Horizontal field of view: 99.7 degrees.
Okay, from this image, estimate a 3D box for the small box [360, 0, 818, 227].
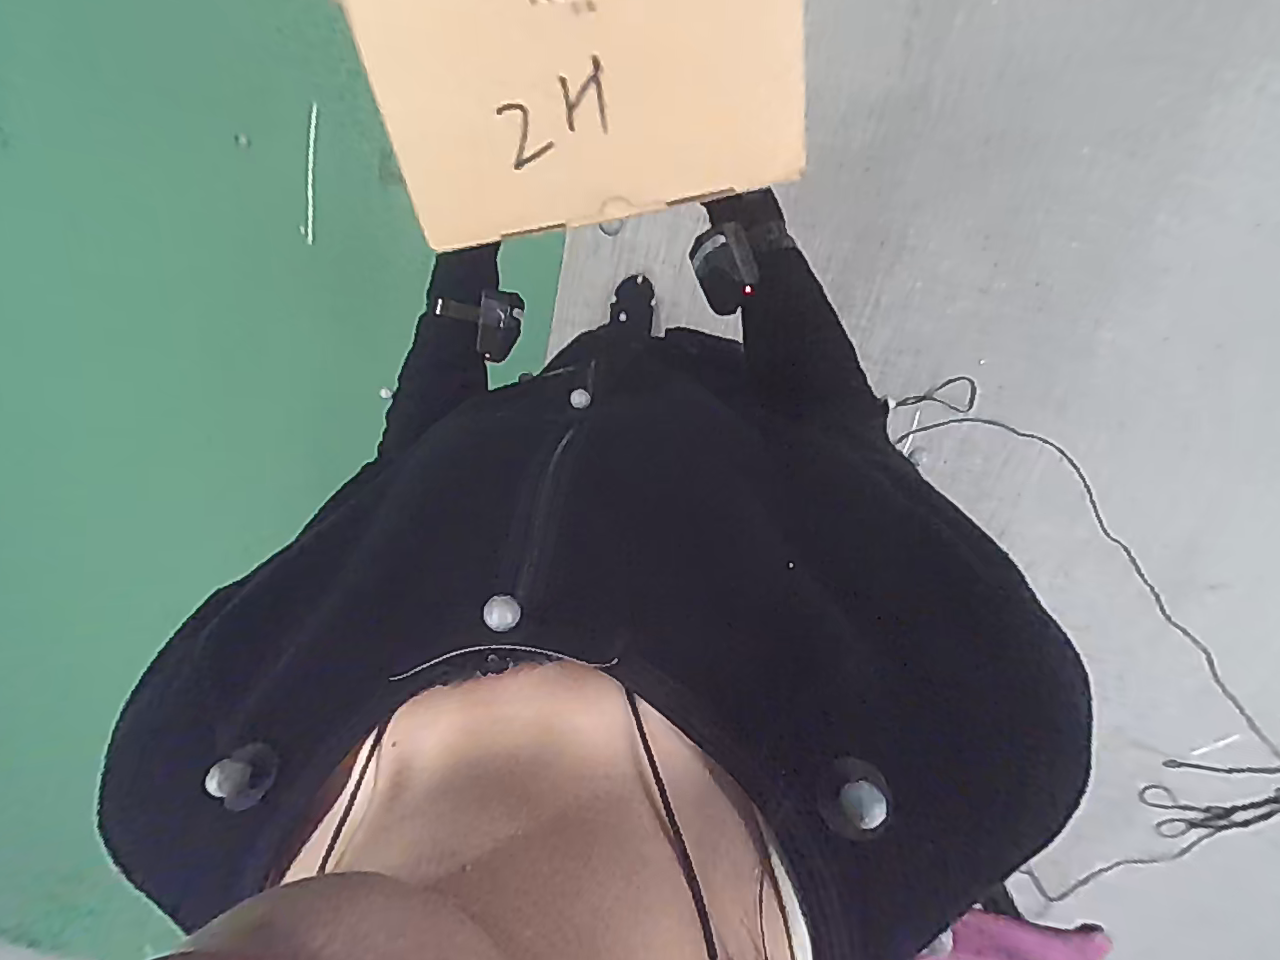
[{"bbox_3d":[-0.026,-0.230,0.253,0.168,0.176,0.179,-9,120,0],"label":"small box"}]
